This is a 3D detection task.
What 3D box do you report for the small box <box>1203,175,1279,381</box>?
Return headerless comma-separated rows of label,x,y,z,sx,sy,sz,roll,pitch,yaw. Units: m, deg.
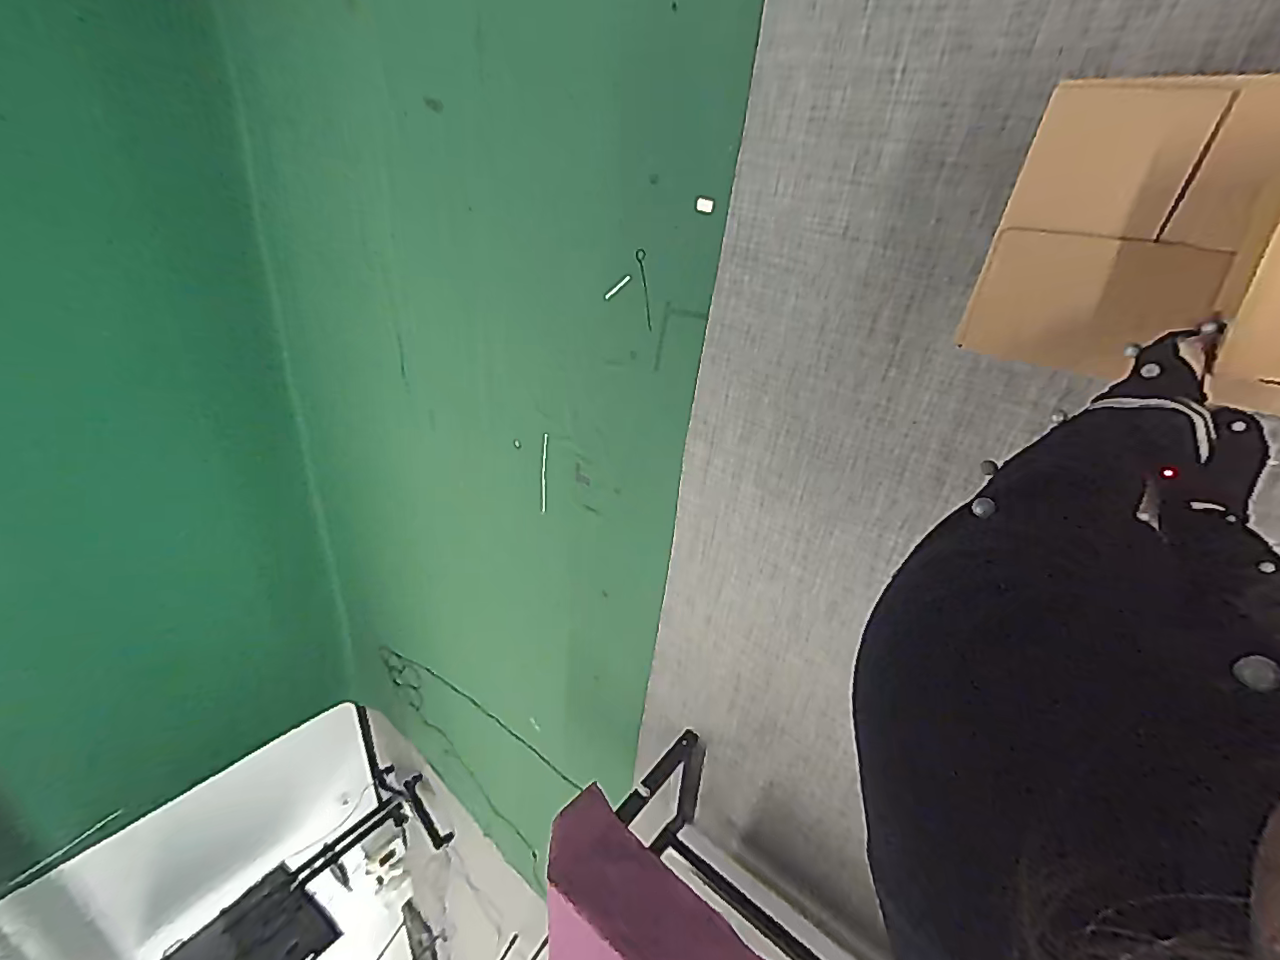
small box,0.638,-0.181,0.471,0.168,0.176,0.179,20,122,36
